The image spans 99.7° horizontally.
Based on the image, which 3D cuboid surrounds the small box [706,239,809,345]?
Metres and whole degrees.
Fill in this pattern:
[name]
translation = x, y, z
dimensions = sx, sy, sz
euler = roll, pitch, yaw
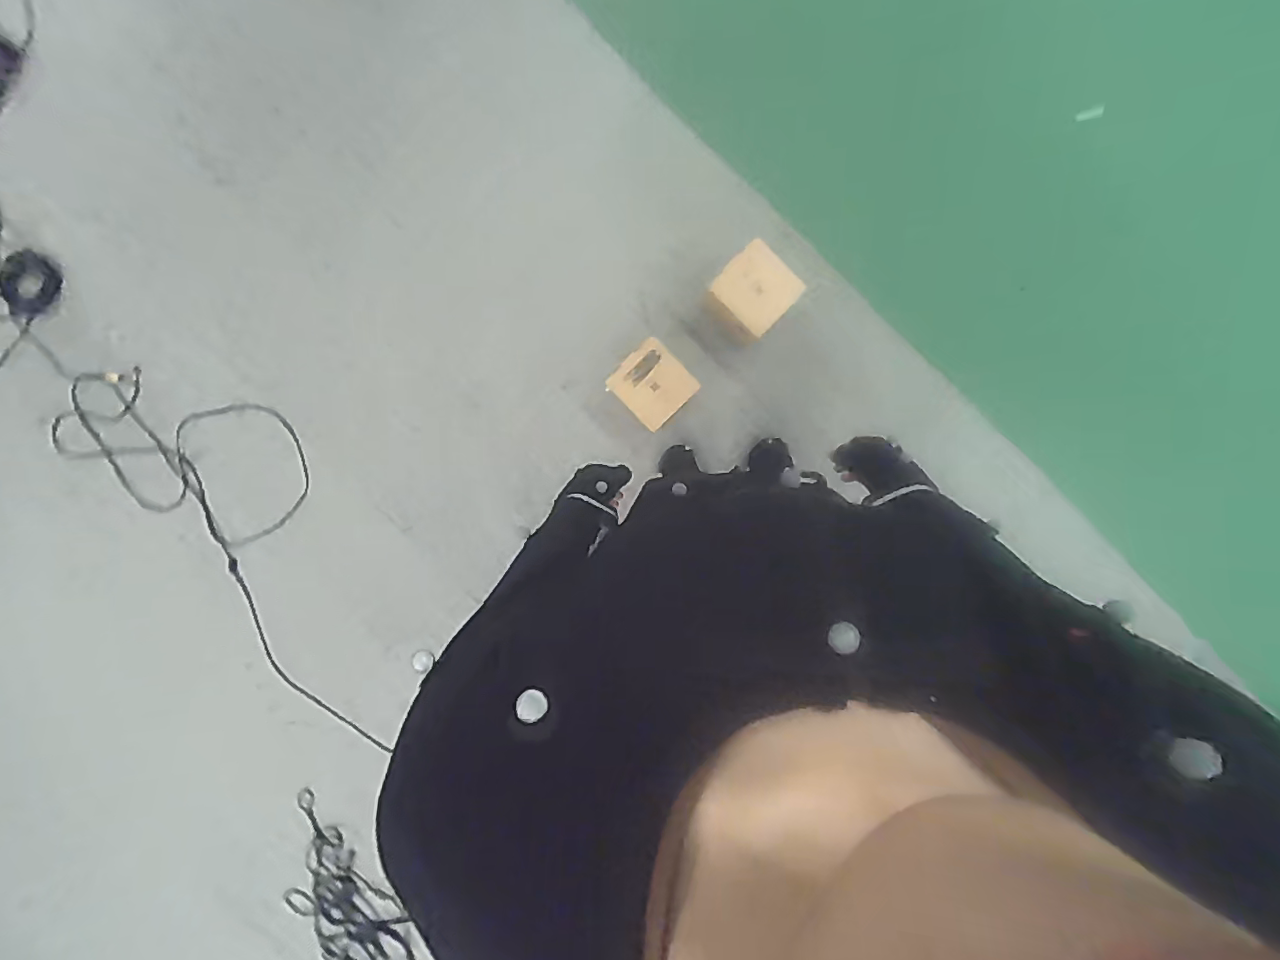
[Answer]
[small box]
translation = 0.283, -0.454, 1.343
dimensions = 0.179, 0.176, 0.168
euler = 45, 95, -1
